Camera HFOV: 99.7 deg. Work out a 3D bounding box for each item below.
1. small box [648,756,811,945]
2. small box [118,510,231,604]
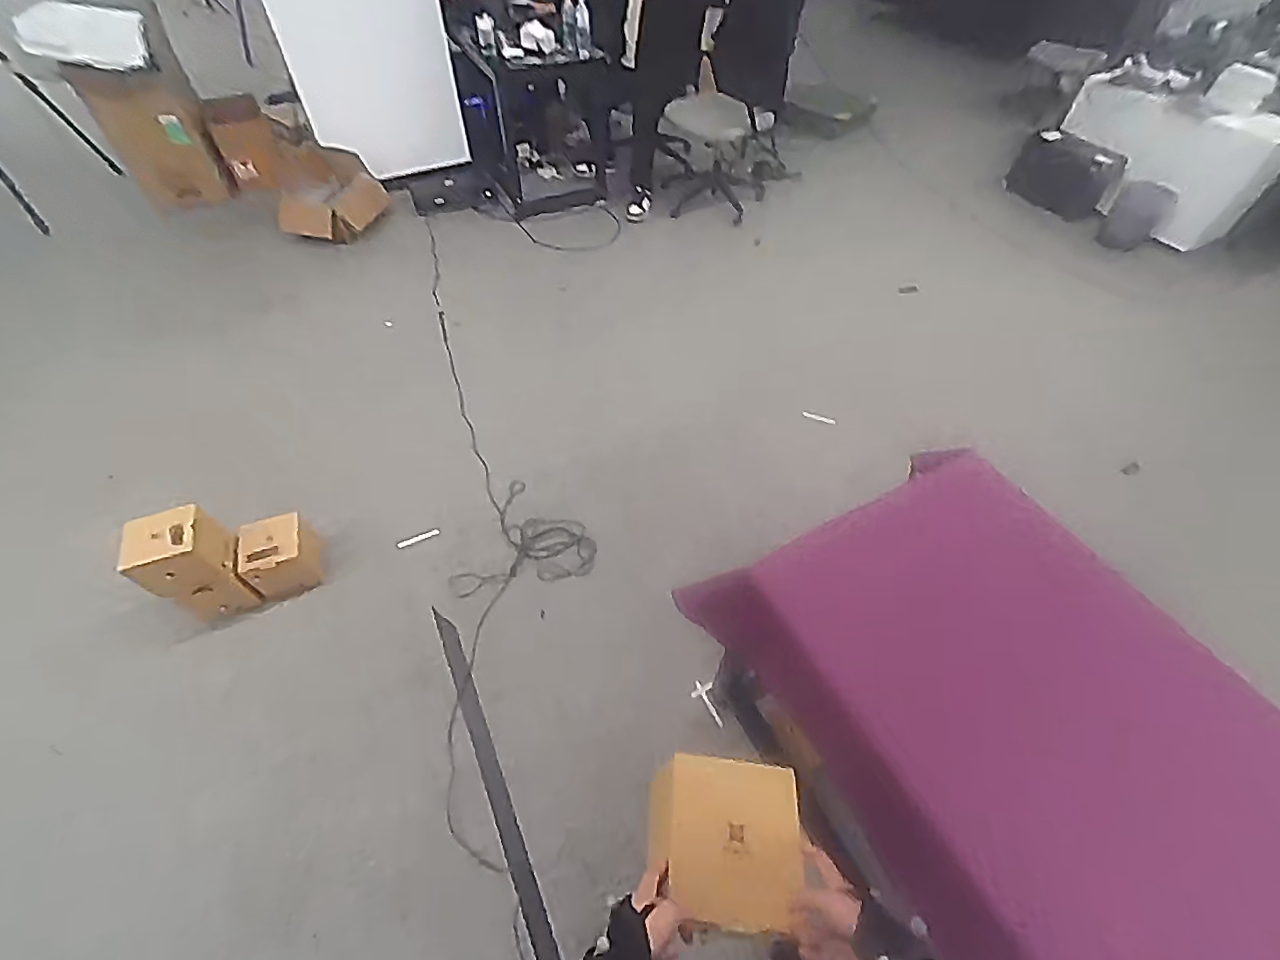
[{"bbox_3d":[0.107,0.492,0.716,0.168,0.176,0.179,10,48,-3],"label":"small box"},{"bbox_3d":[-1.282,0.217,1.506,0.179,0.176,0.168,-18,54,-14],"label":"small box"}]
